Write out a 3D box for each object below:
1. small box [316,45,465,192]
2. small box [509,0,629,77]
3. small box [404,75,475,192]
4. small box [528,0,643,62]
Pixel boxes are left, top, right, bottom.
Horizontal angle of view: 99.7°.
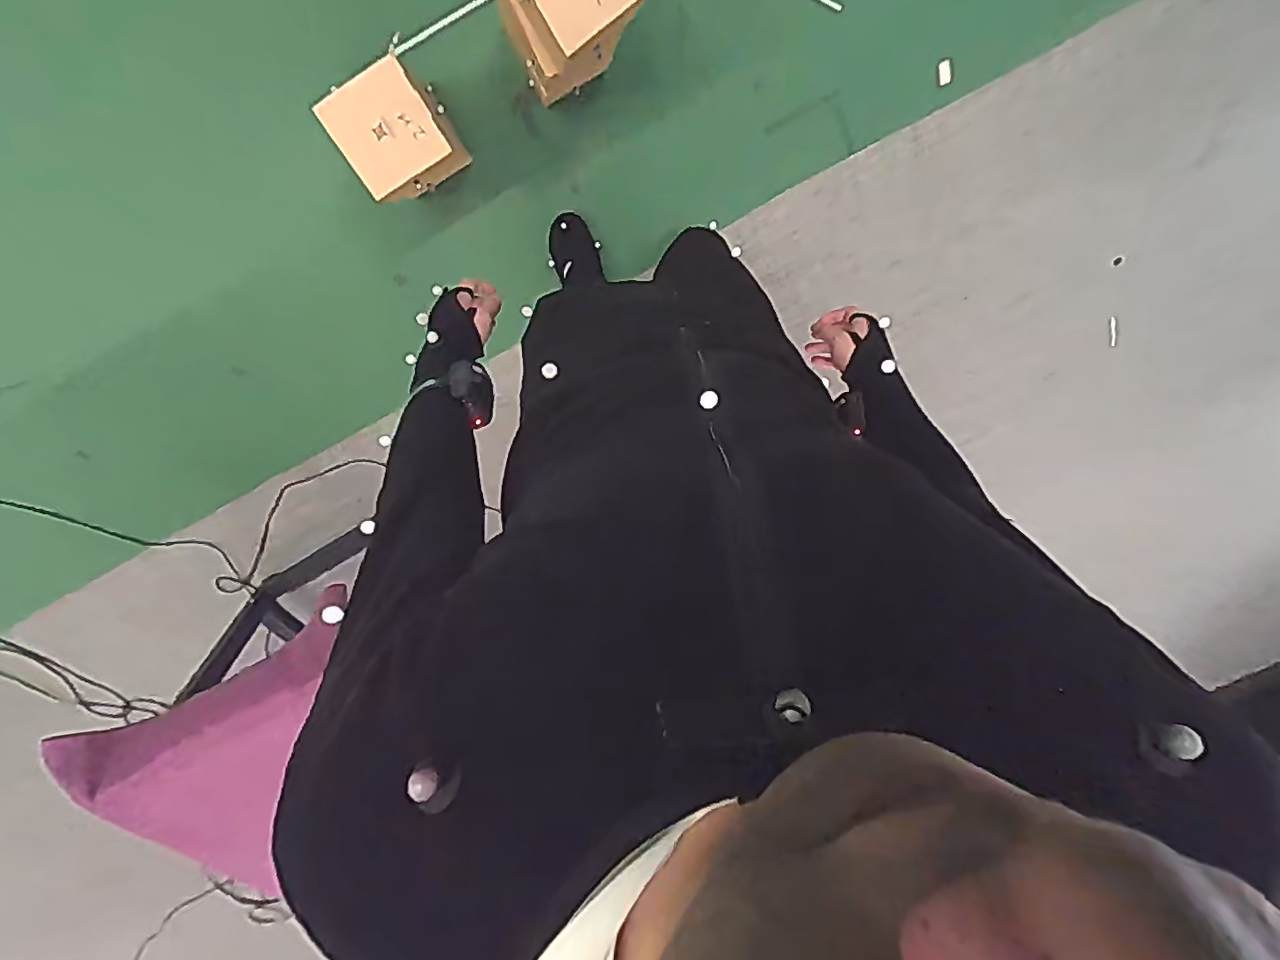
[{"bbox_3d":[-0.457,-0.669,1.026,0.179,0.176,0.168,-29,119,7],"label":"small box"},{"bbox_3d":[-0.138,-0.864,0.974,0.168,0.176,0.179,-29,119,5],"label":"small box"},{"bbox_3d":[-0.480,-0.751,1.166,0.168,0.176,0.179,-28,118,7],"label":"small box"},{"bbox_3d":[-0.098,-0.794,0.831,0.168,0.176,0.179,-34,120,8],"label":"small box"}]
